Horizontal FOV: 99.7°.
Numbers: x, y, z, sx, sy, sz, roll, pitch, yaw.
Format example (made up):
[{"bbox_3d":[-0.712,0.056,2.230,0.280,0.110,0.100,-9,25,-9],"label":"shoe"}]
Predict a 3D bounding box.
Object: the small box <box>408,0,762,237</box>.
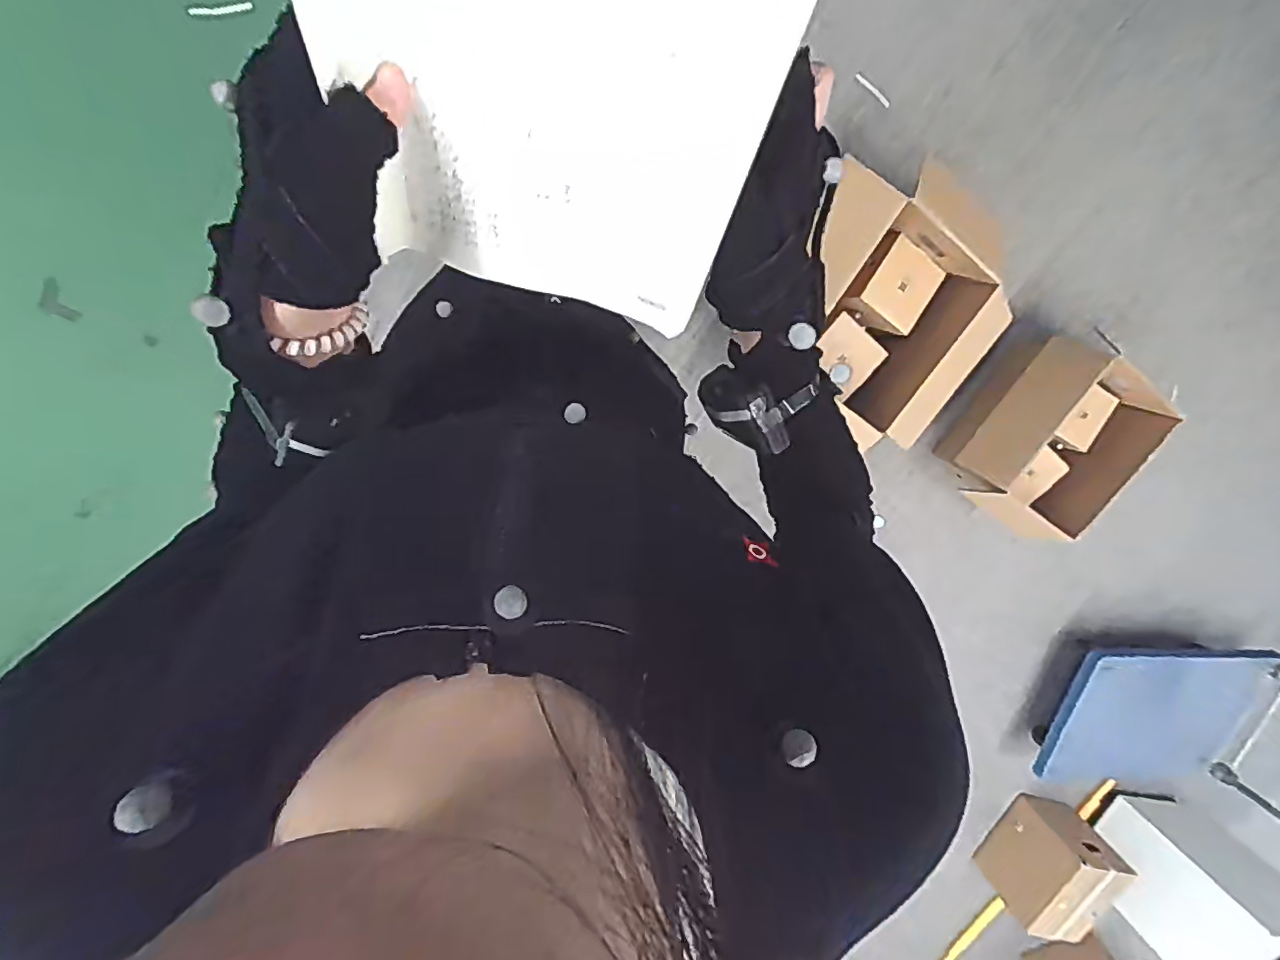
[{"bbox_3d":[-0.024,-0.263,0.317,0.168,0.176,0.179,5,129,0],"label":"small box"}]
